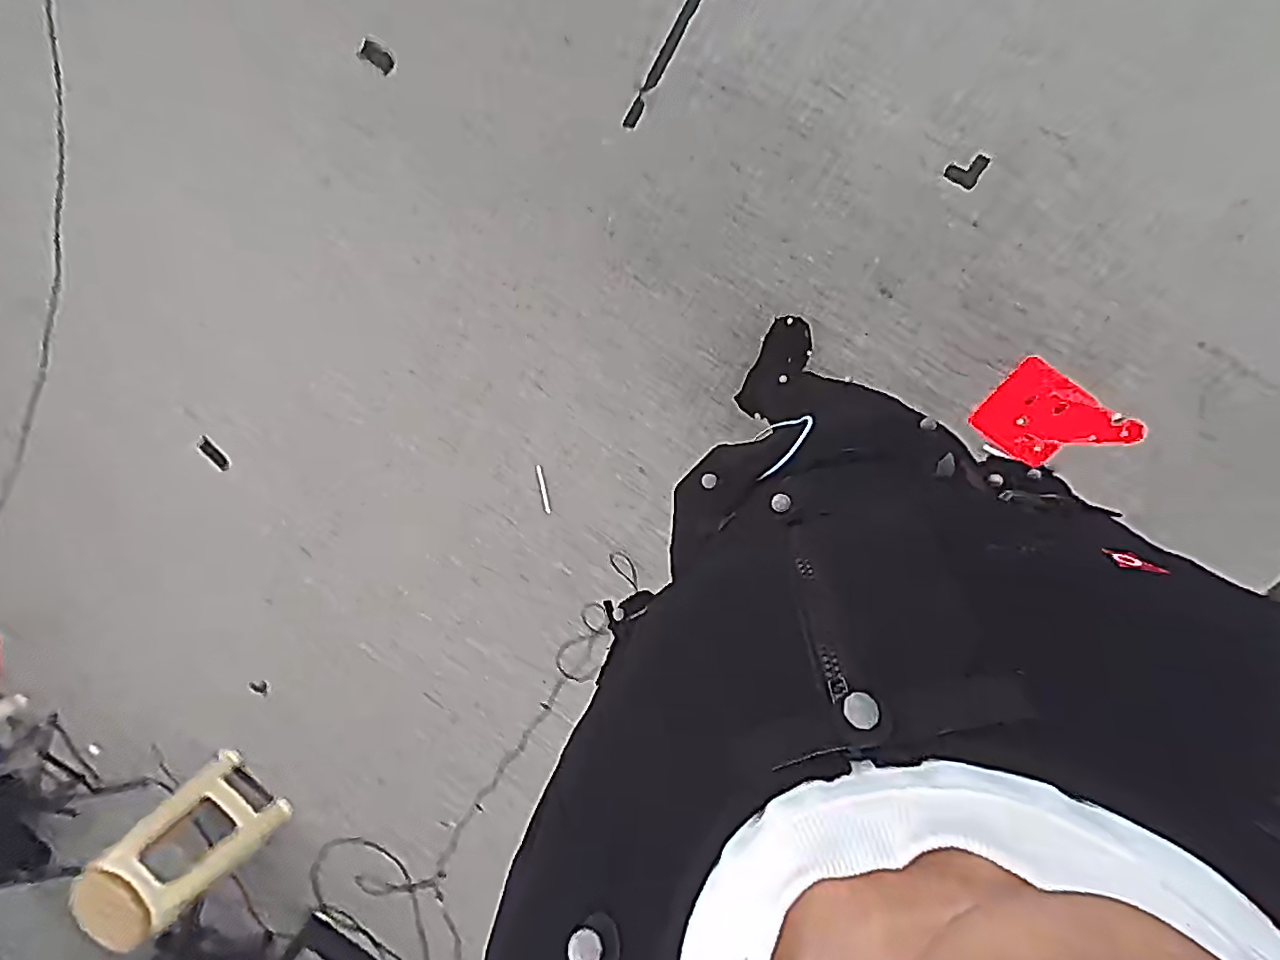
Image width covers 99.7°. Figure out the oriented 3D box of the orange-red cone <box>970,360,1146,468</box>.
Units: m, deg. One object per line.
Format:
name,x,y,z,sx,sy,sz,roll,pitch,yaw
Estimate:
orange-red cone,0.865,-0.117,1.077,0.198,0.360,0.199,39,105,1
